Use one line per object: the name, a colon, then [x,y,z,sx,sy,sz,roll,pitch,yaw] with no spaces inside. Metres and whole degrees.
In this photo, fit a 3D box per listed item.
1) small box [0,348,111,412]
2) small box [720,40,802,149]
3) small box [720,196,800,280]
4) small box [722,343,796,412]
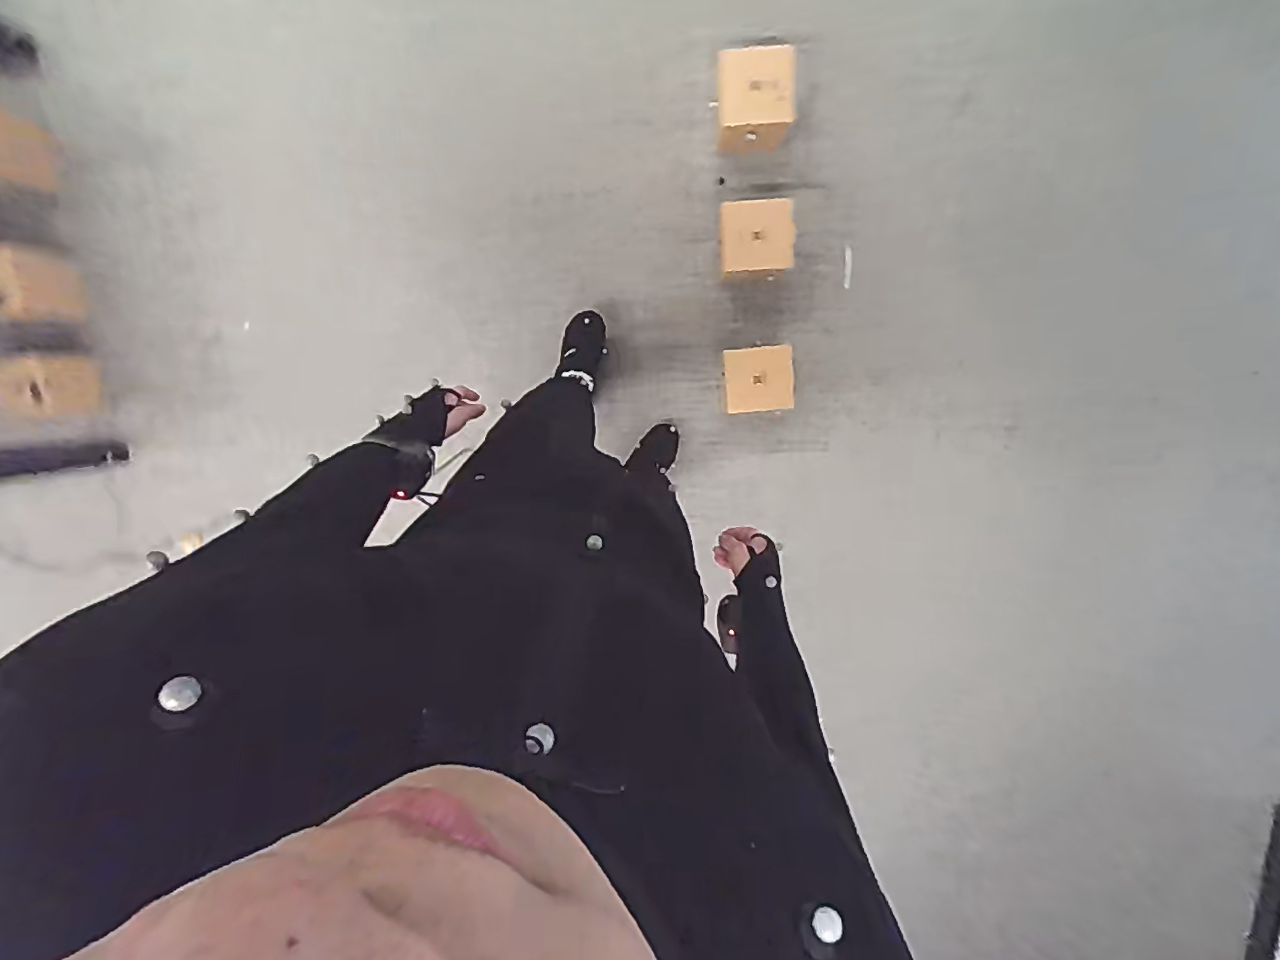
small box: [-1.708,-0.292,1.576,0.179,0.176,0.168,-6,100,5]
small box: [0.291,-0.940,1.335,0.179,0.176,0.168,-1,101,3]
small box: [0.304,-0.619,1.399,0.179,0.176,0.168,-1,100,4]
small box: [0.316,-0.275,1.464,0.179,0.176,0.168,-4,100,4]
